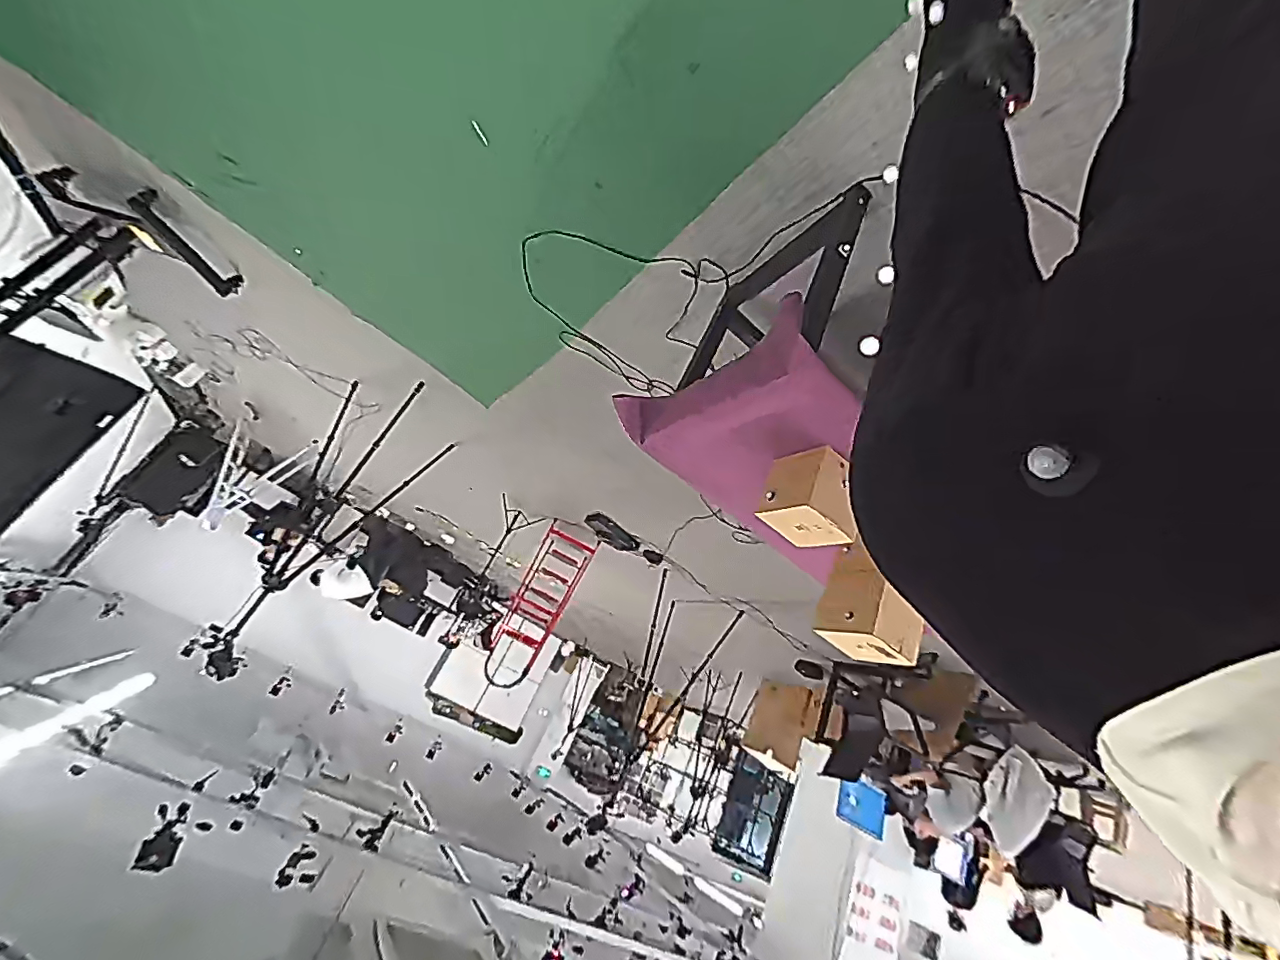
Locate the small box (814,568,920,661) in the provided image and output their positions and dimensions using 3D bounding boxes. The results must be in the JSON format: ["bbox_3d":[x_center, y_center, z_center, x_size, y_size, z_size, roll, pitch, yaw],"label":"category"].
[{"bbox_3d":[0.569,0.329,1.342,0.168,0.176,0.179,36,154,-20],"label":"small box"}]

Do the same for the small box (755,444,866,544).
[{"bbox_3d":[0.415,0.036,1.309,0.168,0.176,0.179,36,153,-21],"label":"small box"}]
